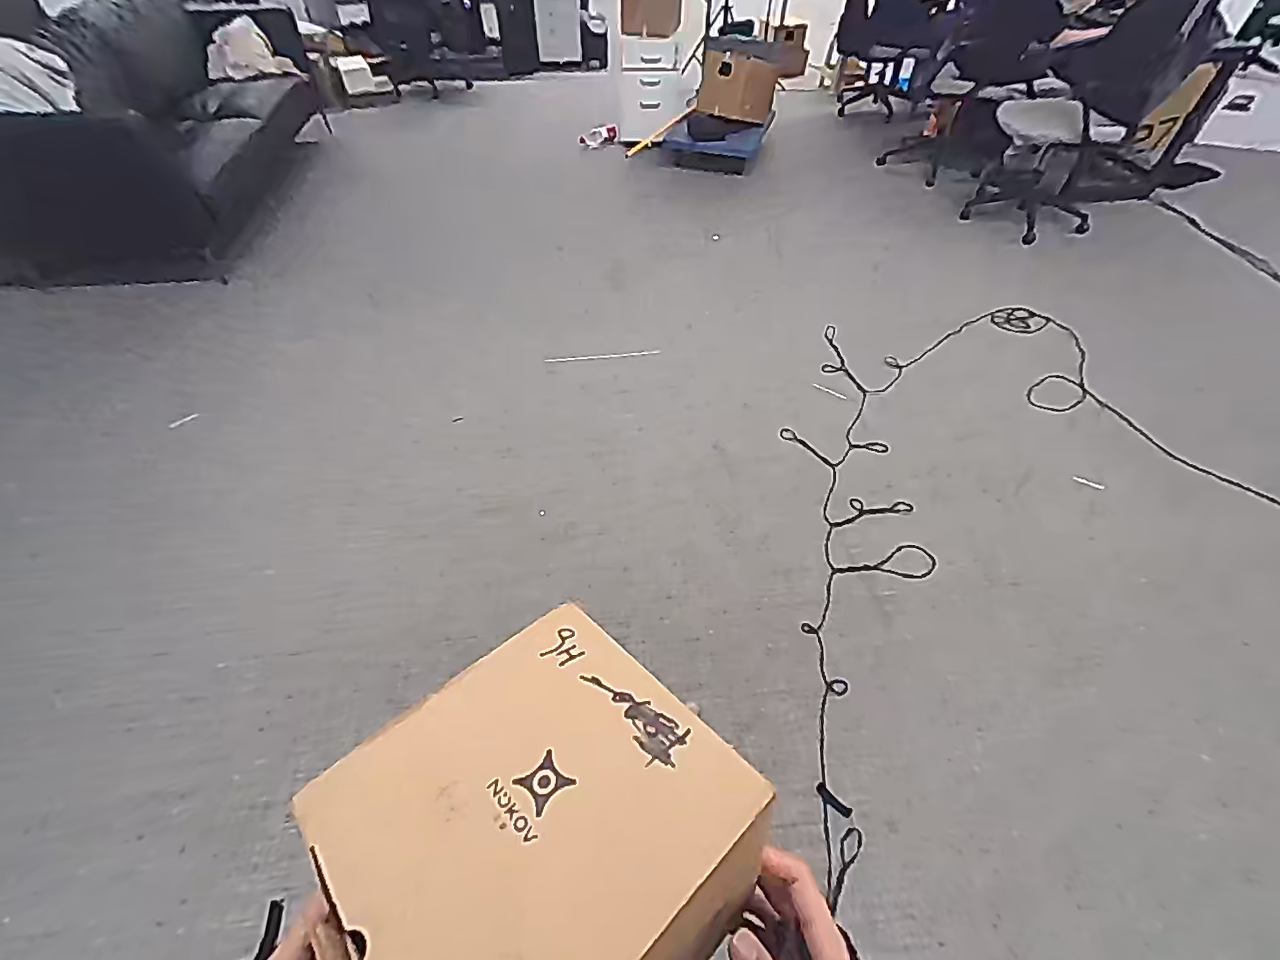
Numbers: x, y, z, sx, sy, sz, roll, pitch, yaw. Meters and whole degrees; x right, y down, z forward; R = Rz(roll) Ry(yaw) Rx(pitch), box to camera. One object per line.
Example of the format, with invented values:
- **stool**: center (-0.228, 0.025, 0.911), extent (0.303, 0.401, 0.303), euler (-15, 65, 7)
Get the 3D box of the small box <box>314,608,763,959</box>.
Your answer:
- **small box**: center (-0.047, 0.221, 0.321), extent (0.179, 0.176, 0.168), euler (-31, 46, -31)
